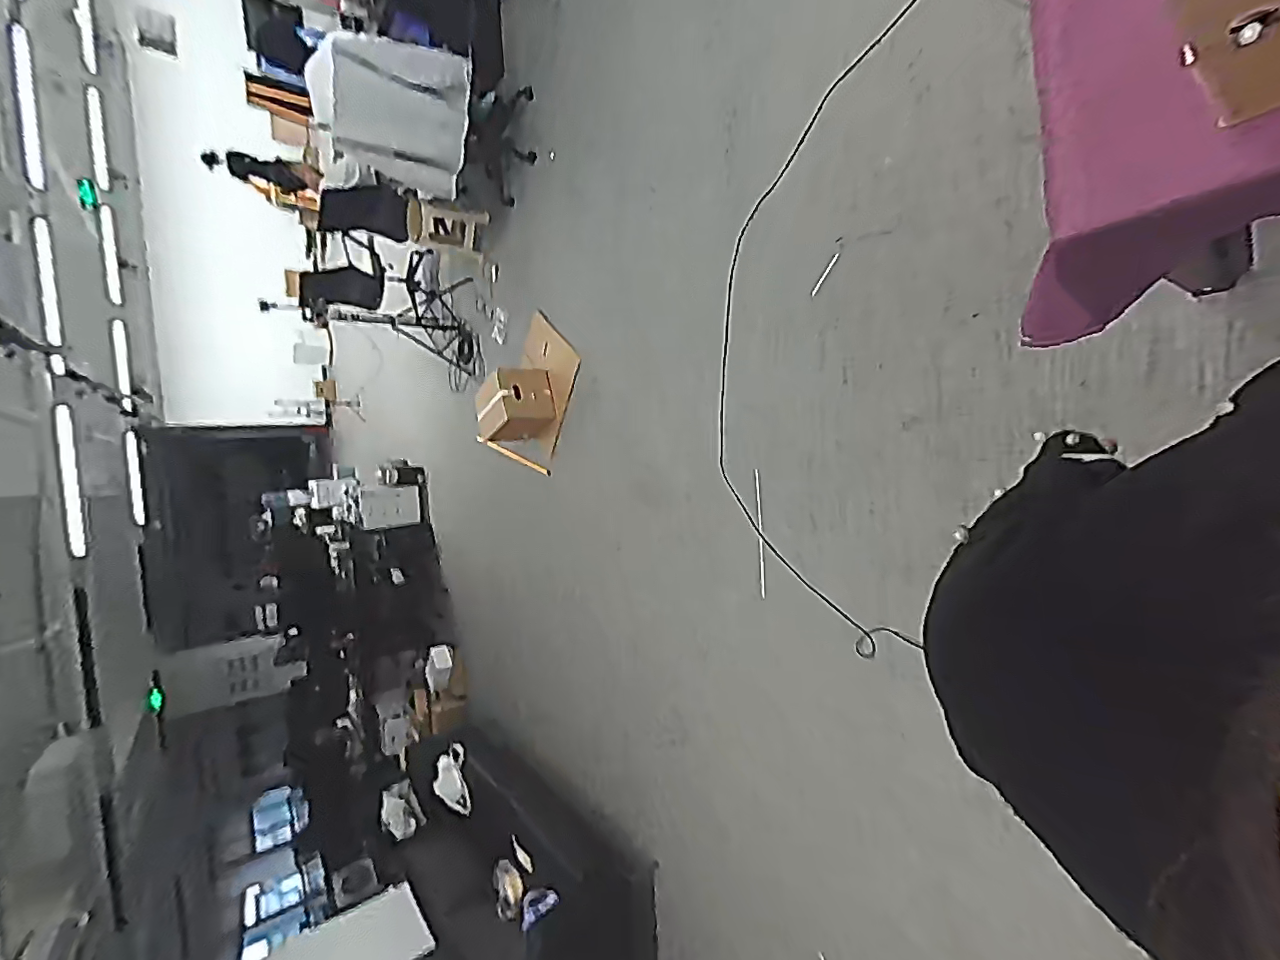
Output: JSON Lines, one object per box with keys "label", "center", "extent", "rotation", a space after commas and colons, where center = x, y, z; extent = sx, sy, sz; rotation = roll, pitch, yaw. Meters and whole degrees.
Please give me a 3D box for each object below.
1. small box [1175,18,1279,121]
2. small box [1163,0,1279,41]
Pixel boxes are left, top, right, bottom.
{"label": "small box", "center": [0.562, -0.433, 0.432], "extent": [0.179, 0.176, 0.168], "rotation": [-3, 91, 52]}
{"label": "small box", "center": [0.433, -0.423, 0.332], "extent": [0.168, 0.176, 0.179], "rotation": [-4, 90, 52]}
